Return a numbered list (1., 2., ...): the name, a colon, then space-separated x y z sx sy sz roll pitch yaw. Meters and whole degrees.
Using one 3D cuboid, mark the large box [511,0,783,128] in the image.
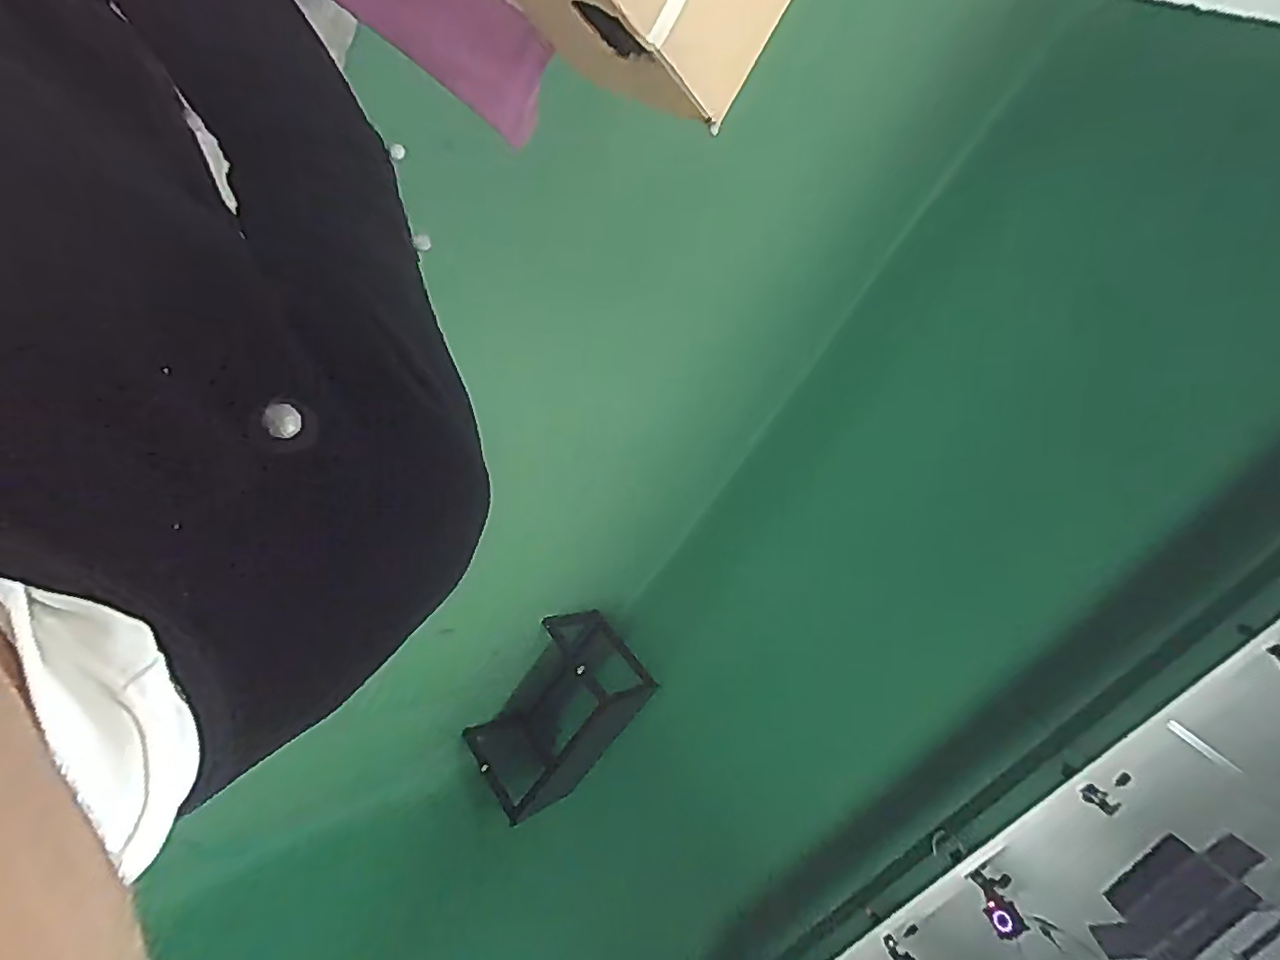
1. large box: 0.015 -0.714 0.589 0.320 0.320 0.408 7 123 -54
